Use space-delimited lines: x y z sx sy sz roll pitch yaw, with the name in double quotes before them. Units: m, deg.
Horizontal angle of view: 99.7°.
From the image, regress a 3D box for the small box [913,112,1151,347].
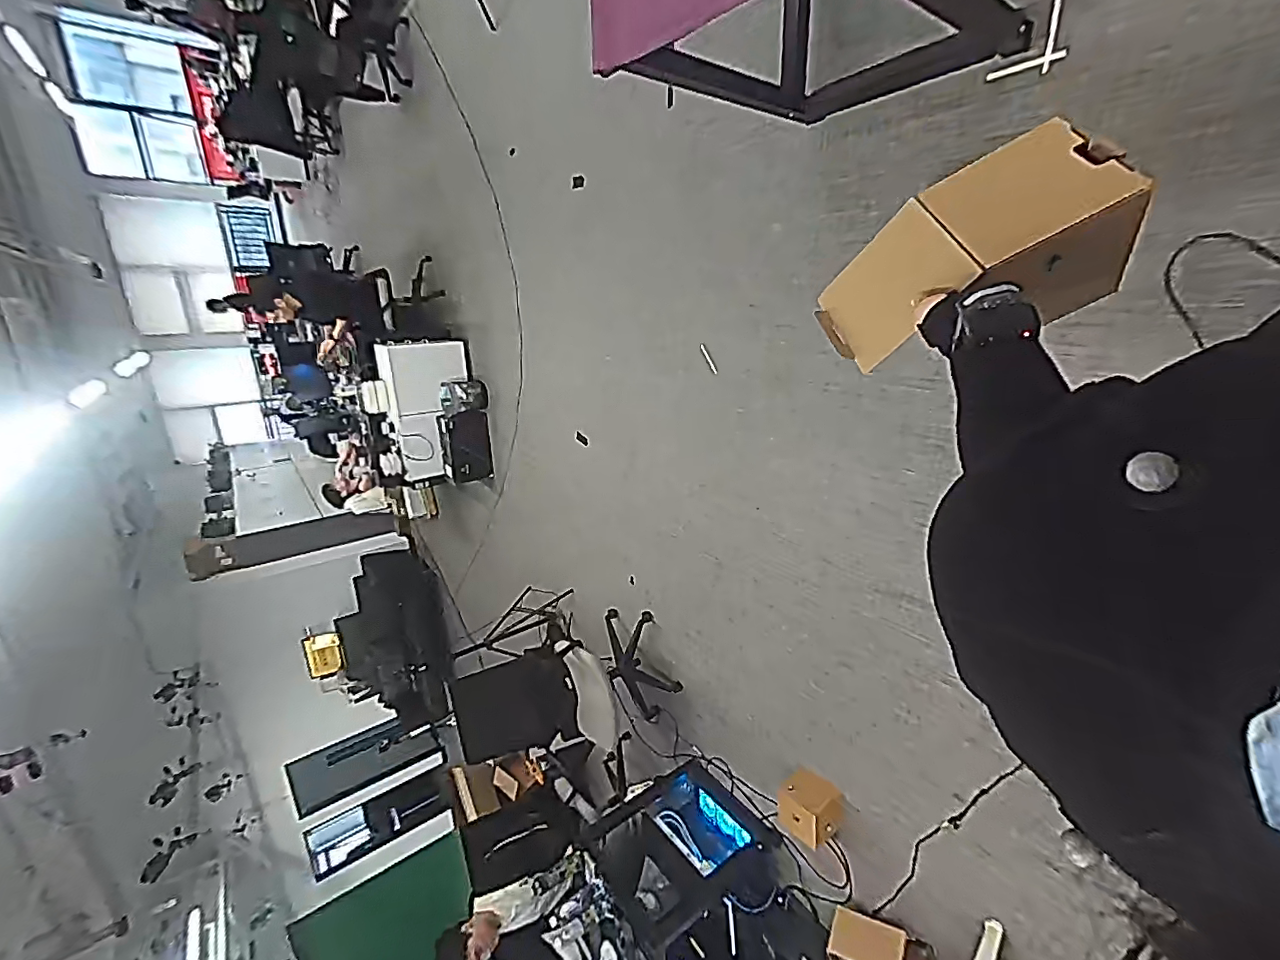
"small box" 0.478 -0.304 0.687 0.179 0.176 0.168 -26 56 17
